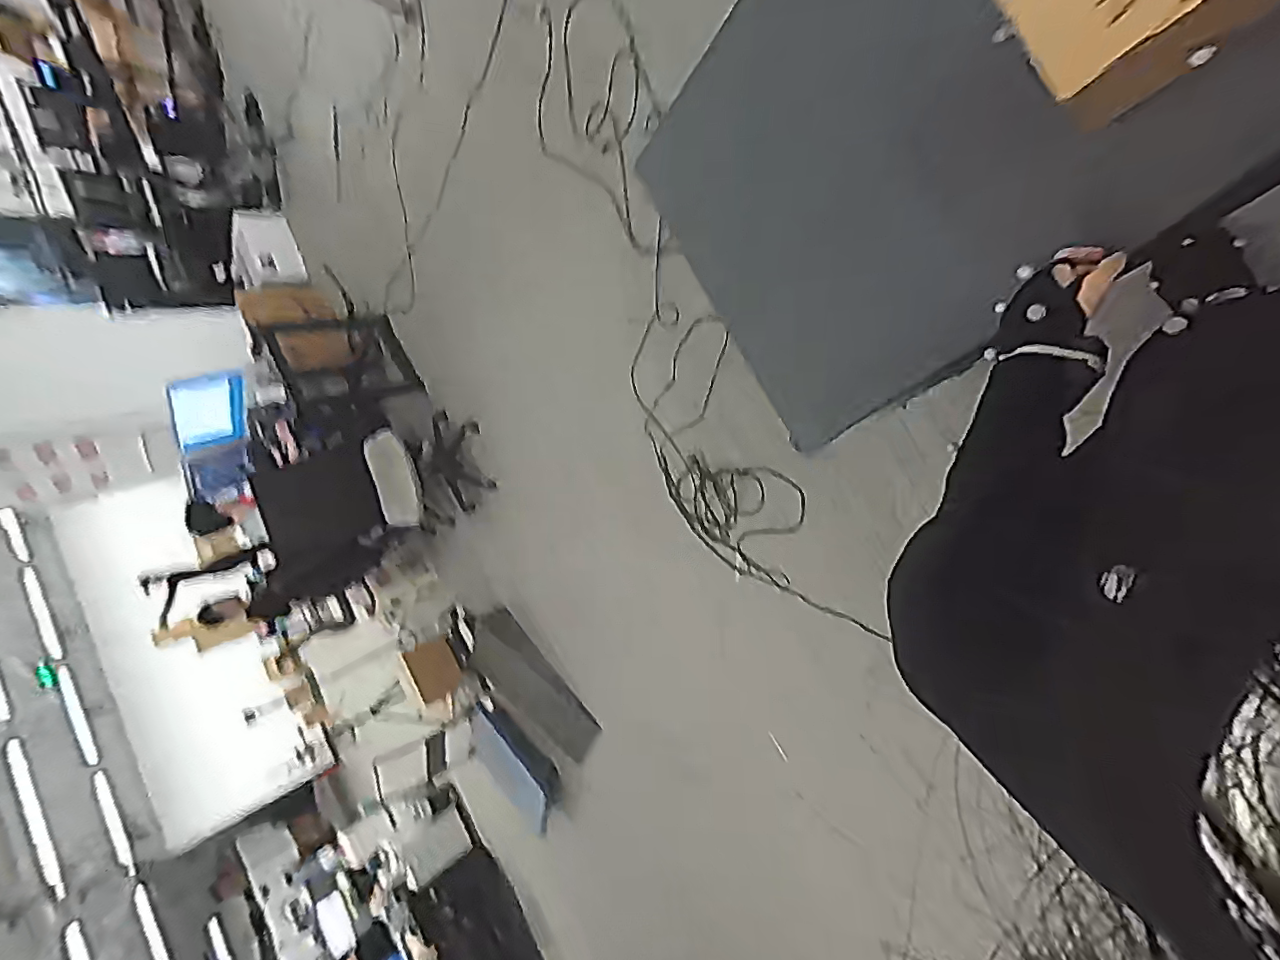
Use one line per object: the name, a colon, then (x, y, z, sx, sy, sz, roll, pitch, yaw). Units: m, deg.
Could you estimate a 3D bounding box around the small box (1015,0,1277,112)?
small box: (0.416, -0.445, 0.442, 0.168, 0.176, 0.179, -34, 80, 48)
